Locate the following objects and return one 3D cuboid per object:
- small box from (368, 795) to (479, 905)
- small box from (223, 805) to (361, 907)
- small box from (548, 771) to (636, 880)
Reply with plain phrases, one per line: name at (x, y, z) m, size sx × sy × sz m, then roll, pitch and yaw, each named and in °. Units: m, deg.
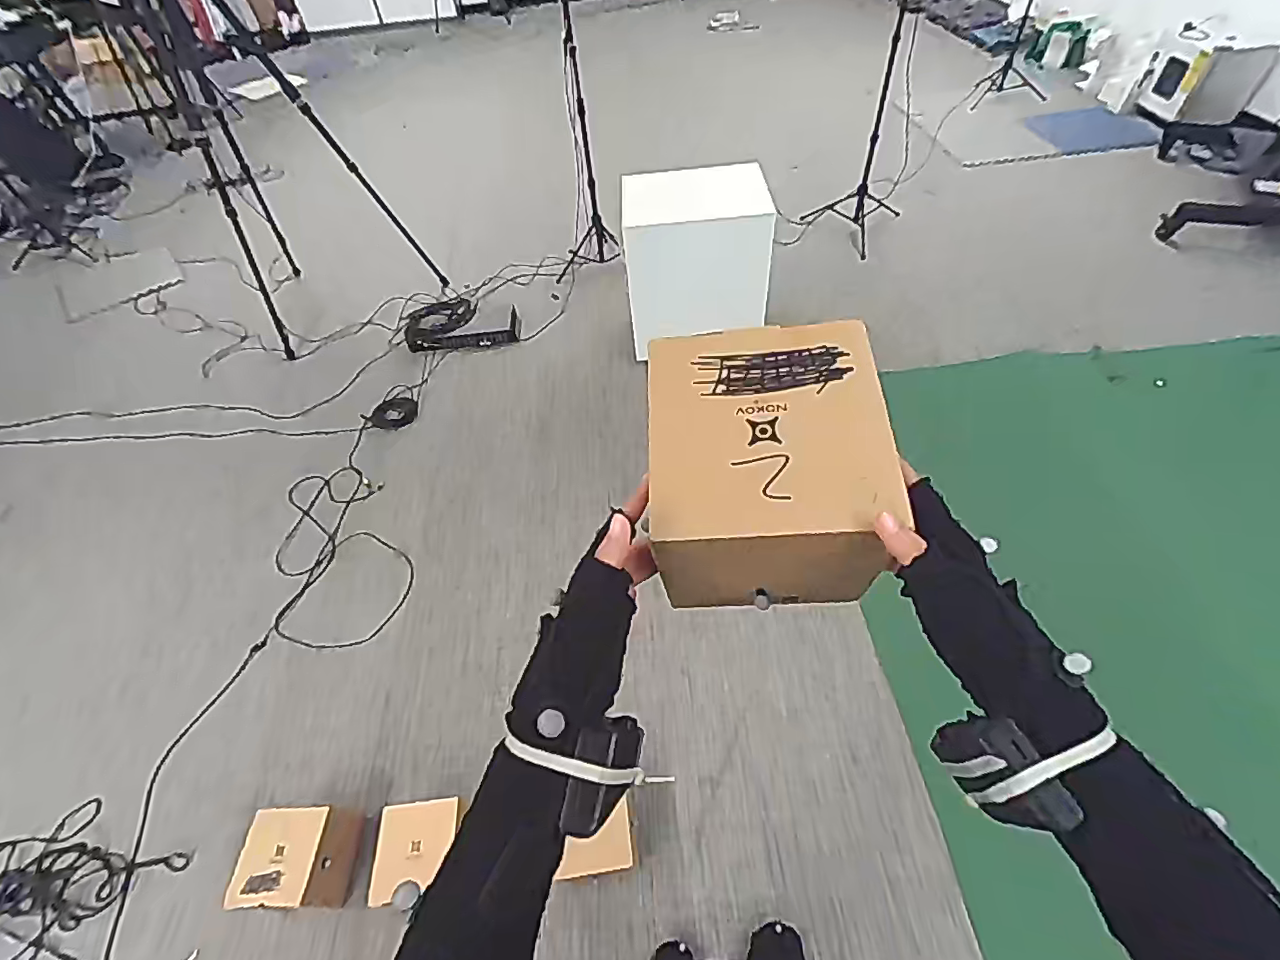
small box at (-0.459, 0.810, 1.181) m, size 0.168 × 0.176 × 0.179 m, roll -7°, pitch 52°, yaw 0°
small box at (-0.749, 0.830, 1.192) m, size 0.168 × 0.176 × 0.179 m, roll -3°, pitch 50°, yaw 3°
small box at (-0.103, 0.760, 1.184) m, size 0.168 × 0.176 × 0.179 m, roll -8°, pitch 51°, yaw -2°
